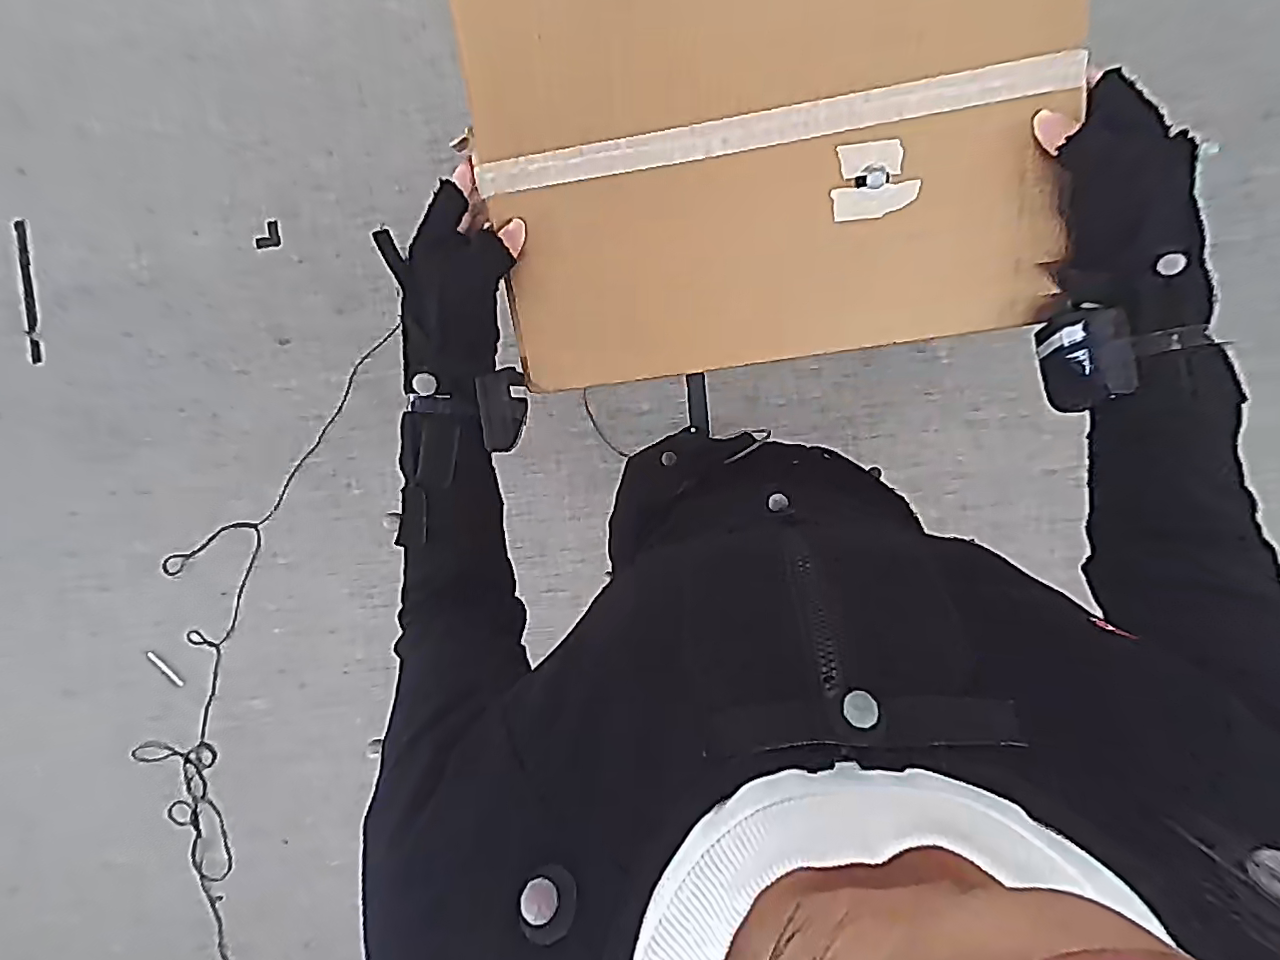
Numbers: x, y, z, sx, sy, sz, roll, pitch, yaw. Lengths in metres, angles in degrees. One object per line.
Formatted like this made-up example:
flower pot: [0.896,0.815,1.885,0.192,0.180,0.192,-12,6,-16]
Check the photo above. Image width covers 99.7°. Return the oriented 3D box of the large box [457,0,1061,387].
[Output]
large box: [0.093,-0.289,0.529,0.408,0.320,0.320,-7,106,5]
